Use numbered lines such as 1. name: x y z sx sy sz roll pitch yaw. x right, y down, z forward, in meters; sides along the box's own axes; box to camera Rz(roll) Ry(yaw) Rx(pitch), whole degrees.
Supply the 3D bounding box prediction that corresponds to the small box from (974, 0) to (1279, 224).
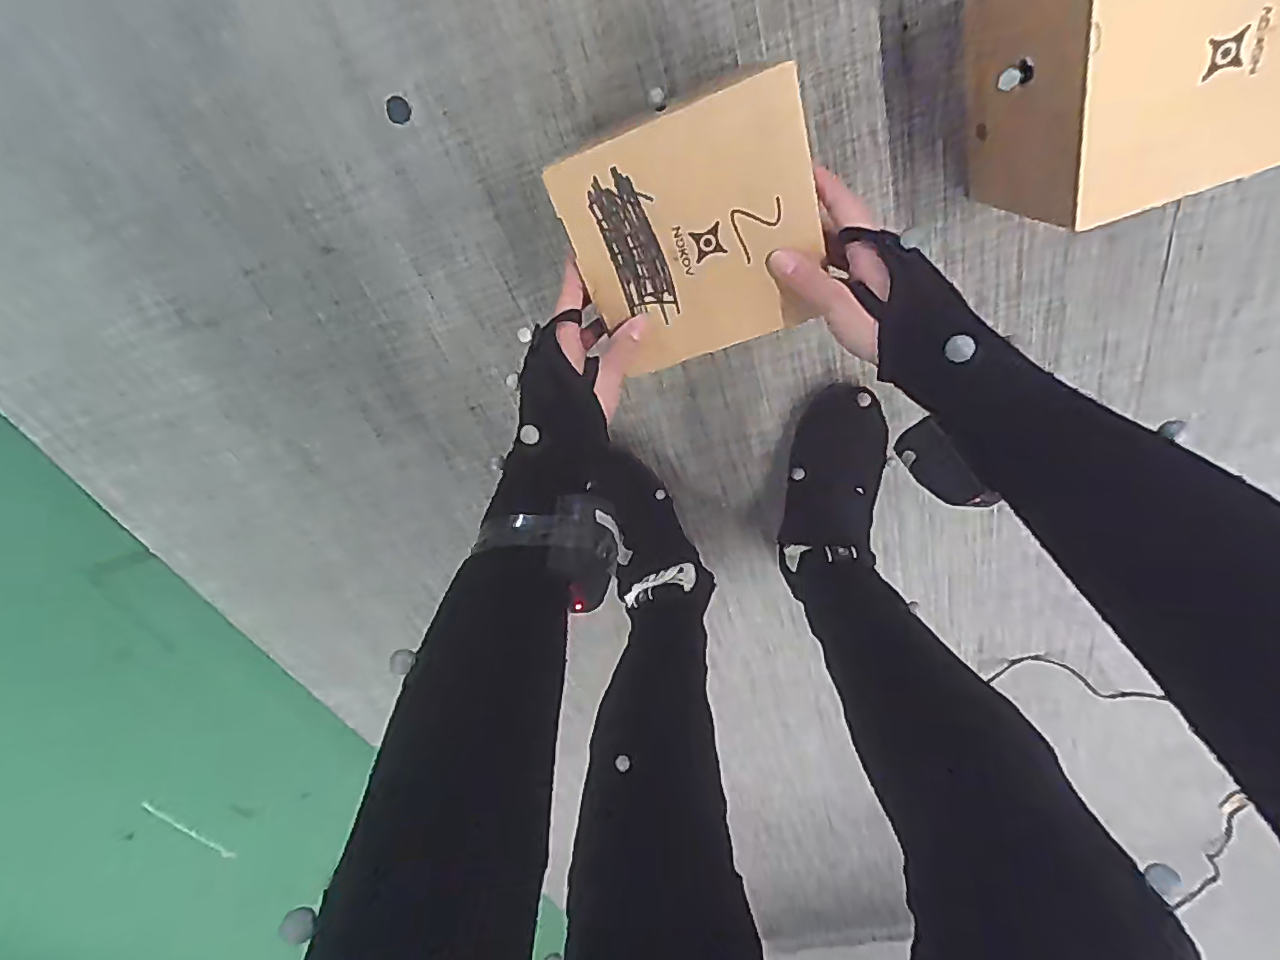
1. small box: 0.375 -0.314 0.403 0.179 0.176 0.168 -17 122 11
